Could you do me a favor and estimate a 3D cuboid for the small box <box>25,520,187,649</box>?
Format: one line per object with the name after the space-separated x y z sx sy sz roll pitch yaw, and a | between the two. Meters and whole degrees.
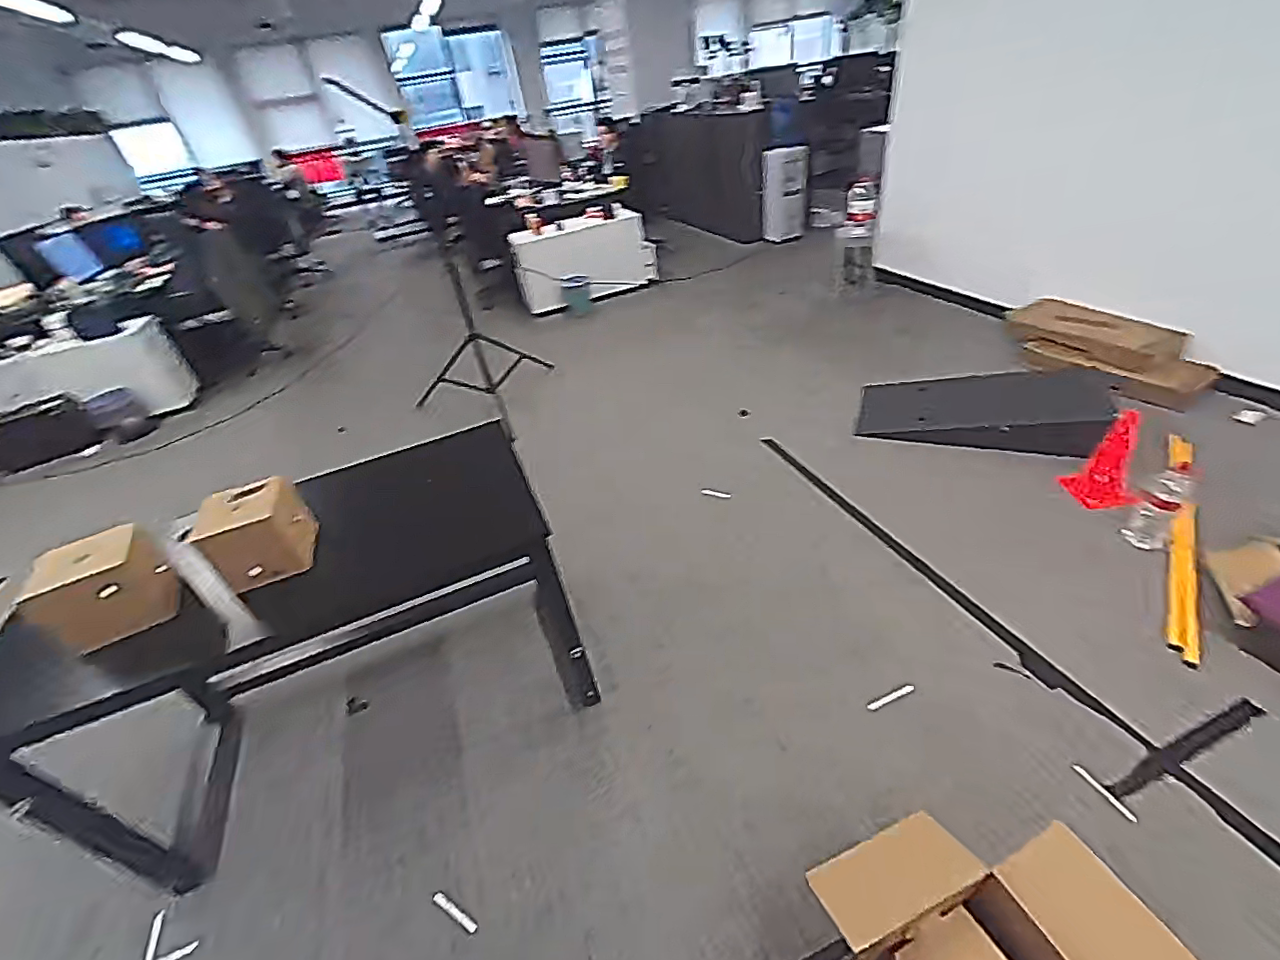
-1.126 0.223 1.163 0.179 0.176 0.168 -25 39 -19 | small box

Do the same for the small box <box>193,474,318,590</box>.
-0.869 0.119 1.245 0.168 0.176 0.179 -19 39 -12 | small box
